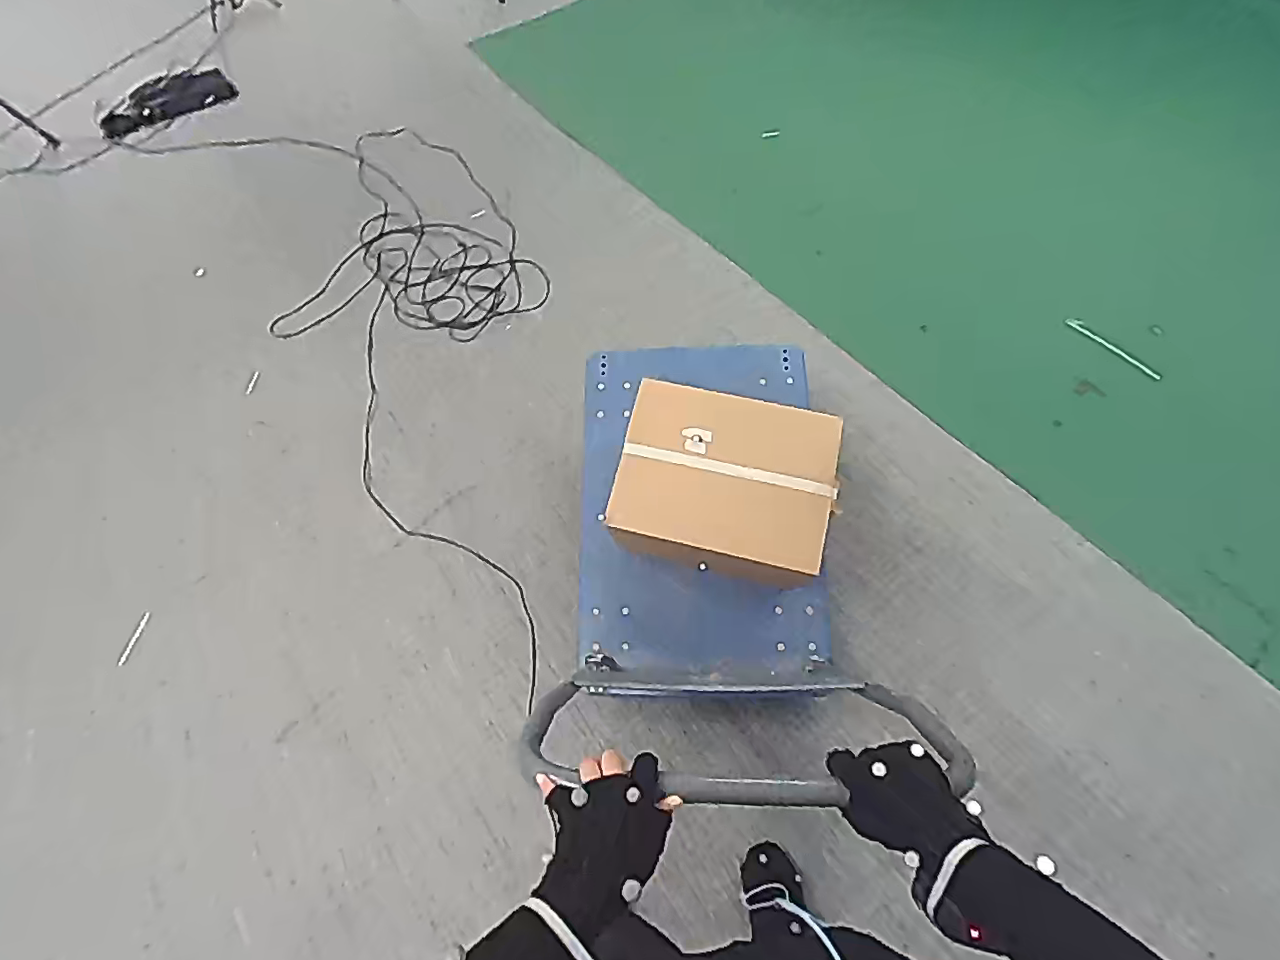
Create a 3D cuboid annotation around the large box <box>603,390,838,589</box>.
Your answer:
[{"bbox_3d":[0.170,0.038,1.172,0.408,0.320,0.320,13,75,8],"label":"large box"}]
